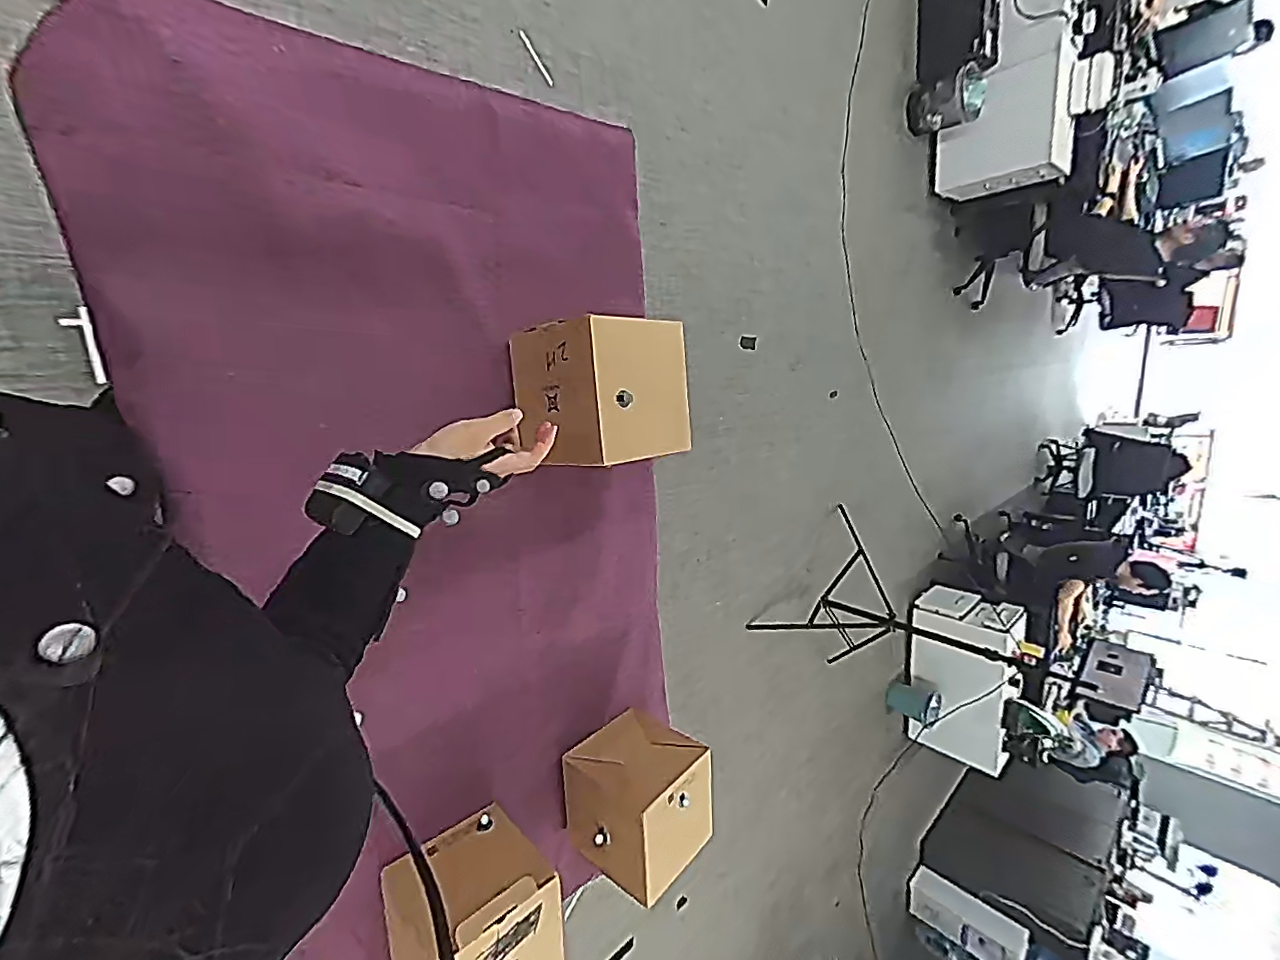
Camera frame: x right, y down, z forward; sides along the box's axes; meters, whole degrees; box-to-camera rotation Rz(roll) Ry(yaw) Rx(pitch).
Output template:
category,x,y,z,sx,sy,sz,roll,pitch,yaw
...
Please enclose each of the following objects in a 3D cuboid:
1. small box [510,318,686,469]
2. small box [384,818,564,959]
category,x,y,z,sx,sy,sz,roll,pitch,yaw
small box,-0.052,-0.114,0.730,0.176,0.168,0.179,-12,101,-46
small box,-0.216,0.583,0.702,0.168,0.176,0.179,-10,104,-42
